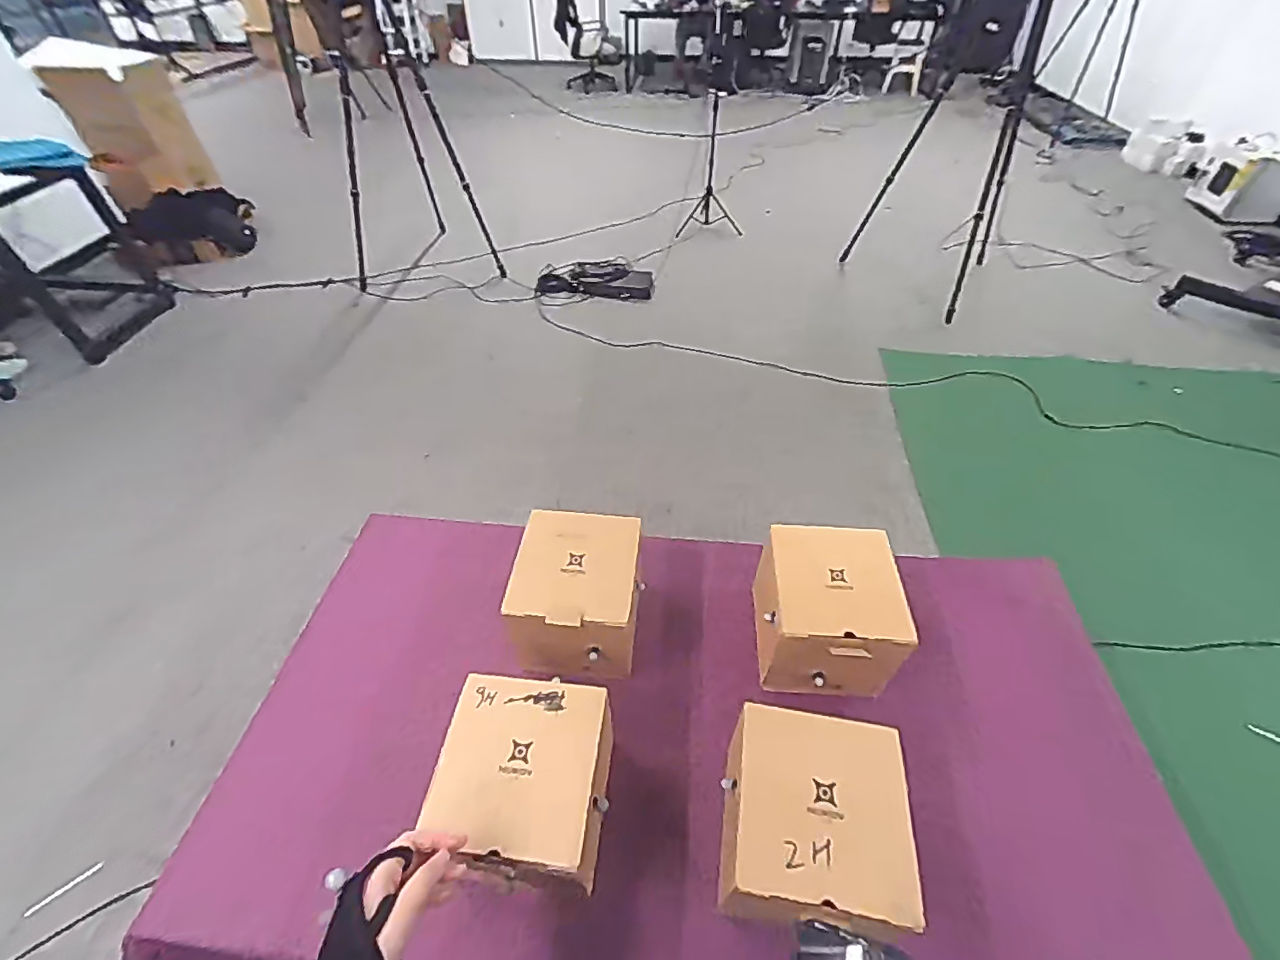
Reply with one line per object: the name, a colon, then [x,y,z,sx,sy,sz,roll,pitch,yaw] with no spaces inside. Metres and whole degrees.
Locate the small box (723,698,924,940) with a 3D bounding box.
small box: [0.184,0.371,0.594,0.168,0.176,0.179,7,47,8]

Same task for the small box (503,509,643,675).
small box: [-0.085,0.166,0.794,0.168,0.176,0.179,5,47,4]

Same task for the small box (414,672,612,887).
small box: [-0.126,0.347,0.622,0.168,0.176,0.179,5,47,4]

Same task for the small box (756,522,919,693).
small box: [0.264,0.182,0.774,0.168,0.176,0.179,2,47,3]
